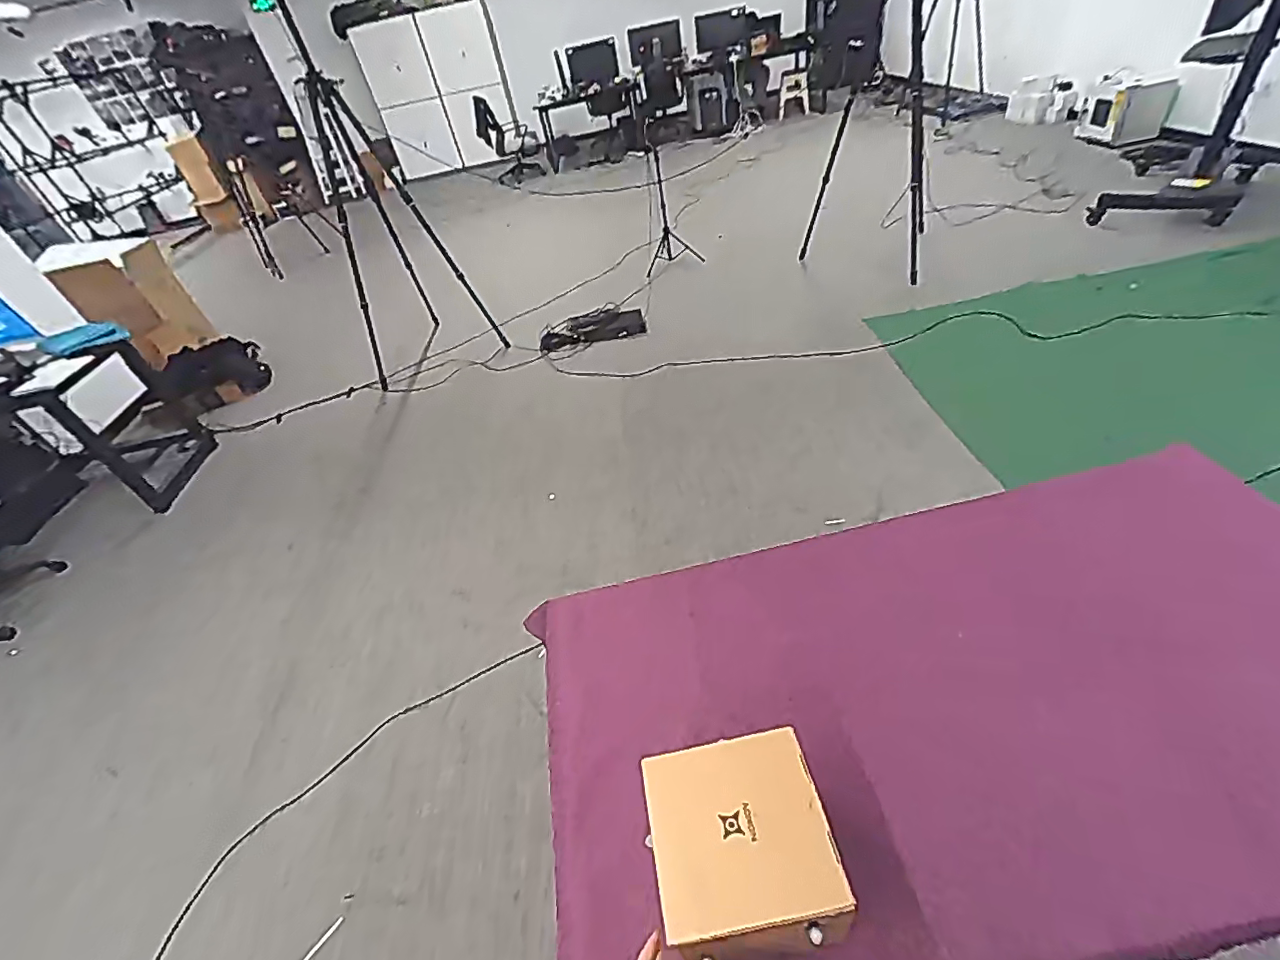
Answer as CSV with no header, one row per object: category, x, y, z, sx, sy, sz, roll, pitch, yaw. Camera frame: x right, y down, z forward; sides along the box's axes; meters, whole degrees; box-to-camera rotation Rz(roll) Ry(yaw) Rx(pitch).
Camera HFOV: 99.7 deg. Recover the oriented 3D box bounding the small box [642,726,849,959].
small box,0.111,0.406,0.599,0.179,0.176,0.168,-12,41,0
